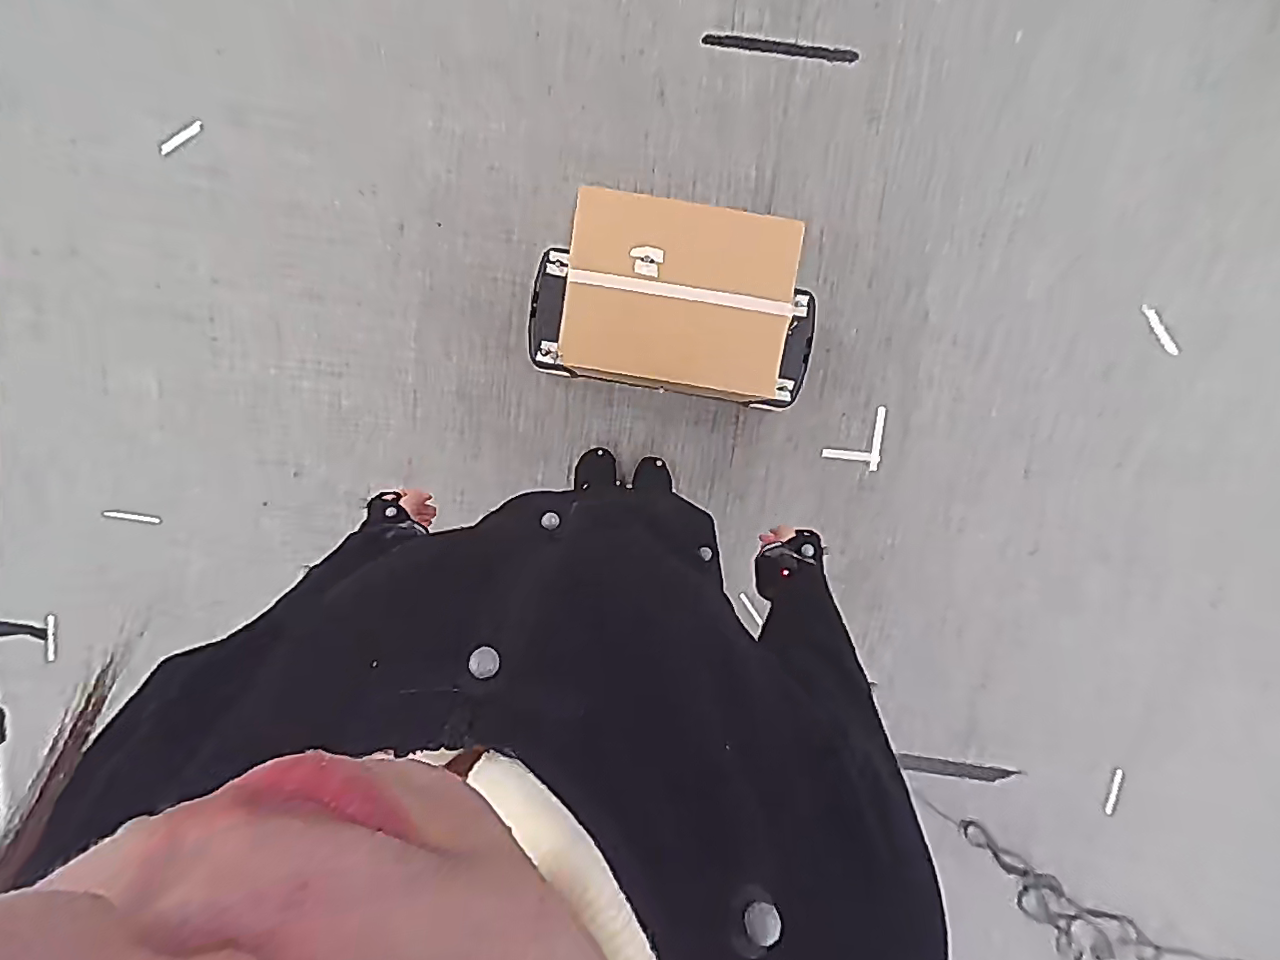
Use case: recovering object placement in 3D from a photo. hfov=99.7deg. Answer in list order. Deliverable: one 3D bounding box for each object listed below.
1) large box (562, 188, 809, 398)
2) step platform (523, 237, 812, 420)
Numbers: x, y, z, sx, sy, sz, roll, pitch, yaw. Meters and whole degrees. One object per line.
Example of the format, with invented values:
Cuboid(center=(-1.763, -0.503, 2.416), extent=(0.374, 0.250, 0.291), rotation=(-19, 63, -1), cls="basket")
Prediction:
Cuboid(center=(0.082, -0.346, 1.097), extent=(0.408, 0.320, 0.320), rotation=(9, 97, 0), cls="large box")
Cuboid(center=(0.064, -0.363, 1.336), extent=(0.684, 0.204, 0.286), rotation=(15, 97, 0), cls="step platform")
